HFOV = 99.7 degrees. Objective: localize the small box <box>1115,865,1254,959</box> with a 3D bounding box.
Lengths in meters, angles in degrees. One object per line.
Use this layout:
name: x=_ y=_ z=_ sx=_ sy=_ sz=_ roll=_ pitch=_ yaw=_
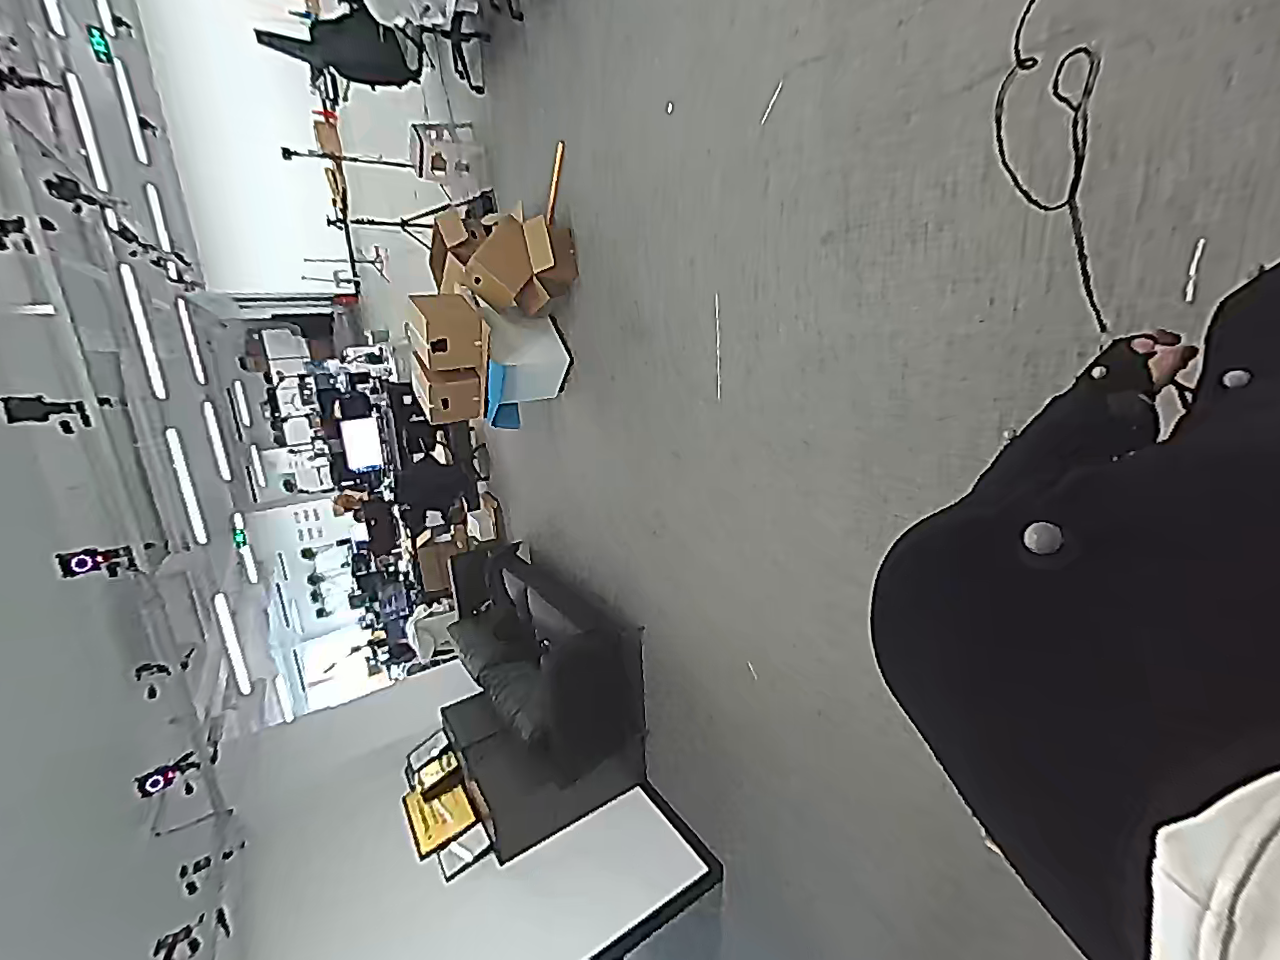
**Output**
small box: x=1.157 y=0.986 z=1.151 sx=0.168 sy=0.176 sz=0.179 roll=17 pitch=116 yaw=53
